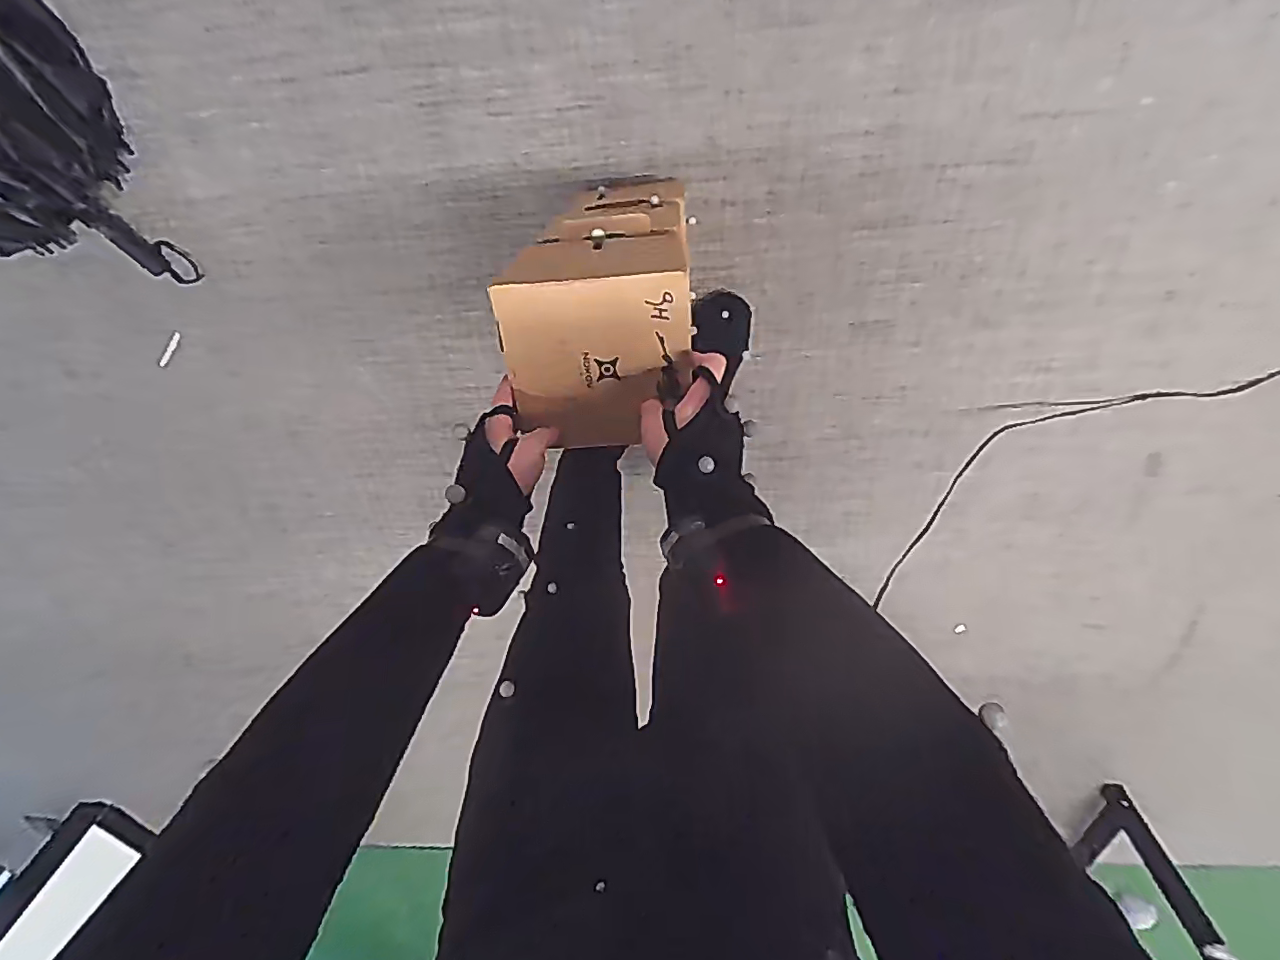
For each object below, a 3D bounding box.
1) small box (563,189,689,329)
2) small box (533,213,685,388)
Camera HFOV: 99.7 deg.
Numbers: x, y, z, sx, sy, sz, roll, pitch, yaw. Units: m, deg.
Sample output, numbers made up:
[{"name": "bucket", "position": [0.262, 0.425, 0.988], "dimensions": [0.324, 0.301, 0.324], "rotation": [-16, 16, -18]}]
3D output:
[{"name": "small box", "position": [-0.012, -0.340, 0.837], "dimensions": [0.168, 0.176, 0.179], "rotation": [-4, 126, 8]}, {"name": "small box", "position": [-0.029, -0.240, 0.707], "dimensions": [0.168, 0.176, 0.179], "rotation": [-3, 126, 6]}]
